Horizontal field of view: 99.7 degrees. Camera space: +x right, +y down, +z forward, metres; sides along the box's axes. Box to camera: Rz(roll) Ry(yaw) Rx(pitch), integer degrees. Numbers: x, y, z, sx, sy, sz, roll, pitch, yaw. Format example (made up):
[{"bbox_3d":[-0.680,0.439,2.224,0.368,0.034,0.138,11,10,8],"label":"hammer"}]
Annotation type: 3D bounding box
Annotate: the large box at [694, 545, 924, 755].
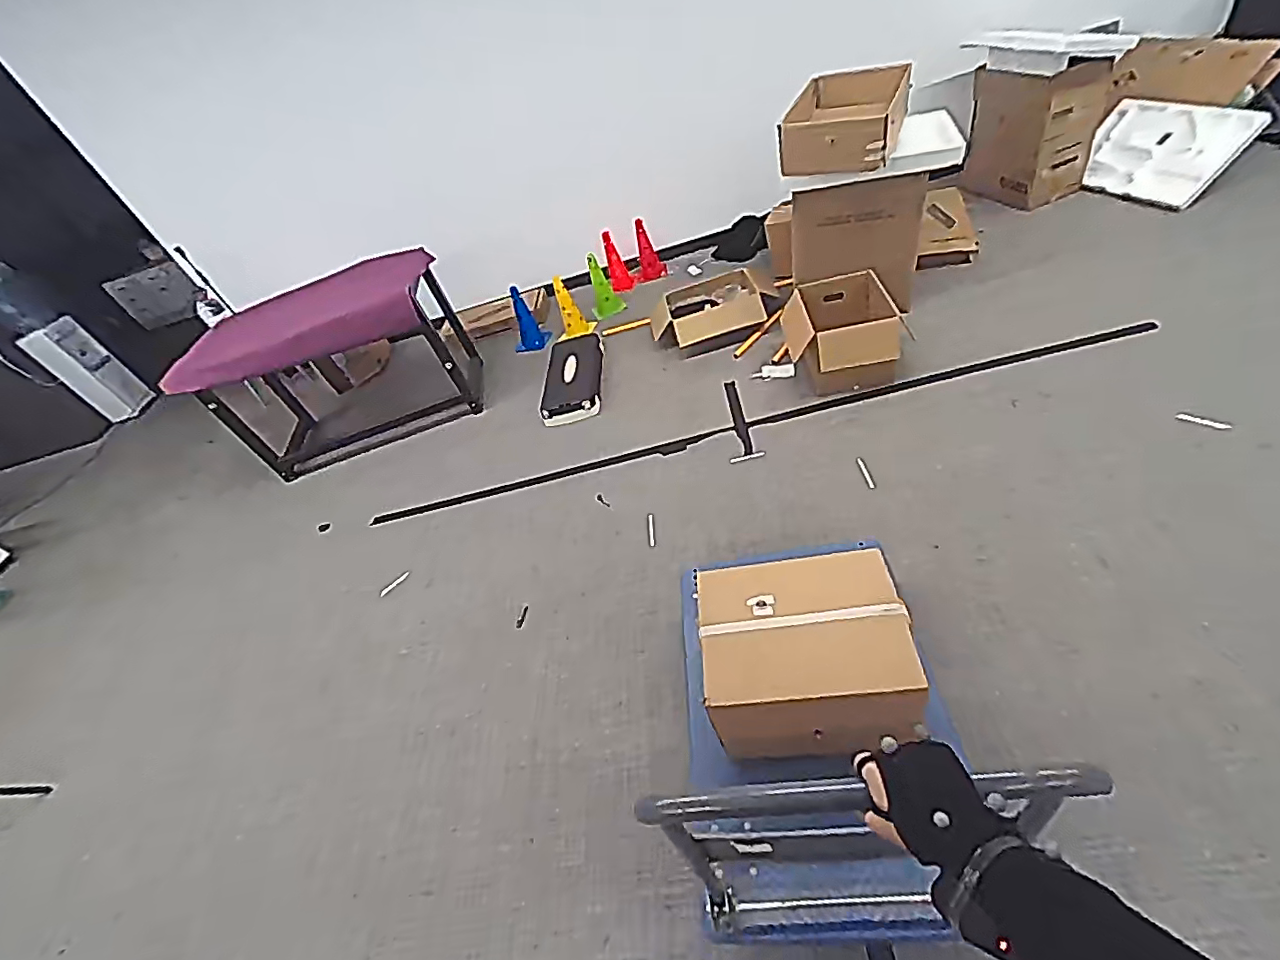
[{"bbox_3d":[0.356,0.385,1.196,0.408,0.320,0.320,-11,43,12],"label":"large box"}]
